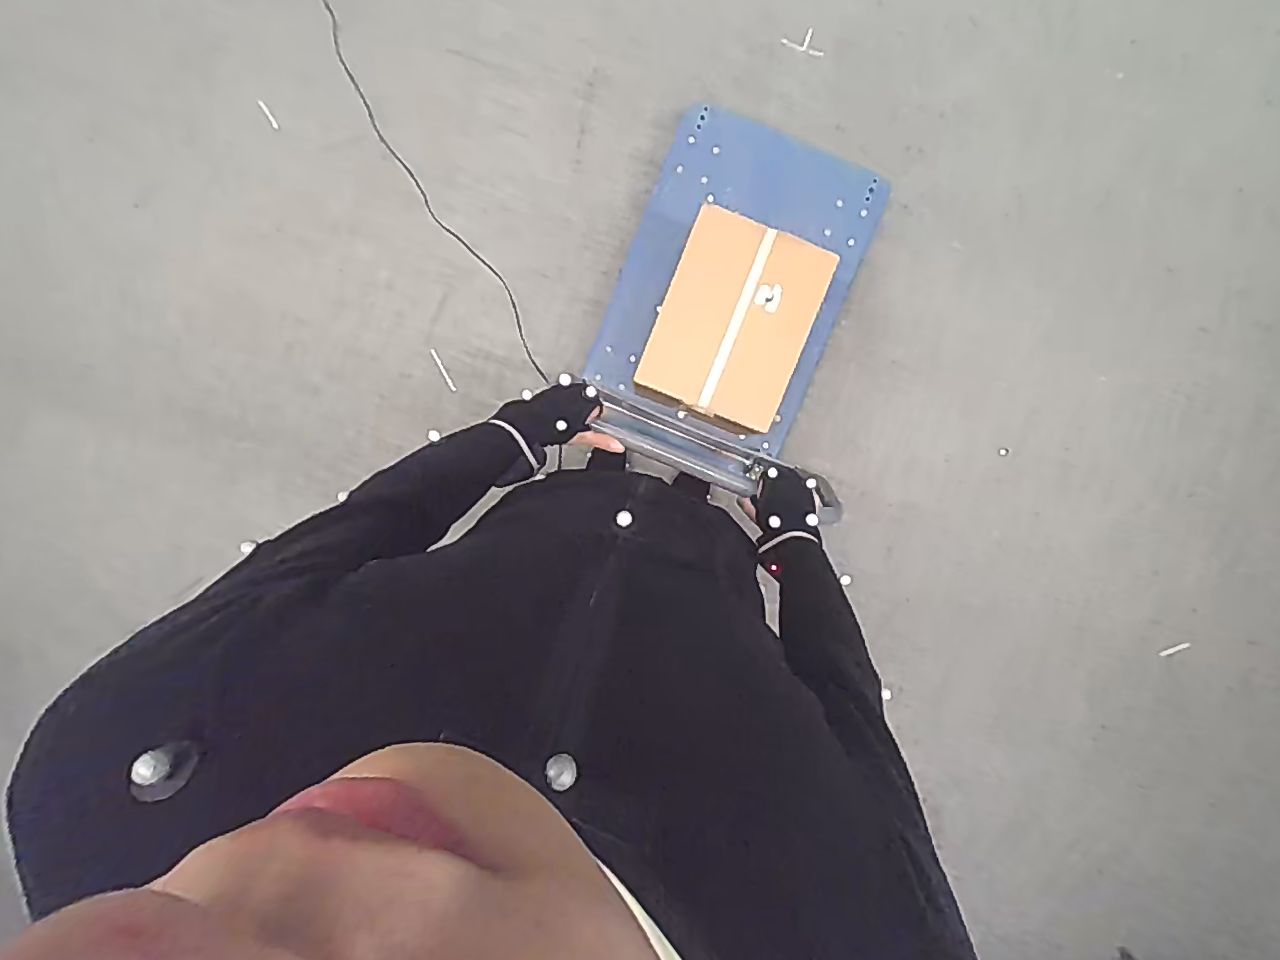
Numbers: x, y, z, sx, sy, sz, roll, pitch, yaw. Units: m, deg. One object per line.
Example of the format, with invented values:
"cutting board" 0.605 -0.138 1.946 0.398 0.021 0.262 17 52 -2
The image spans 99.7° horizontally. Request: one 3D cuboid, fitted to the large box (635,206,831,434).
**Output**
"large box" 0.199 -0.350 1.304 0.320 0.320 0.408 22 93 -2
